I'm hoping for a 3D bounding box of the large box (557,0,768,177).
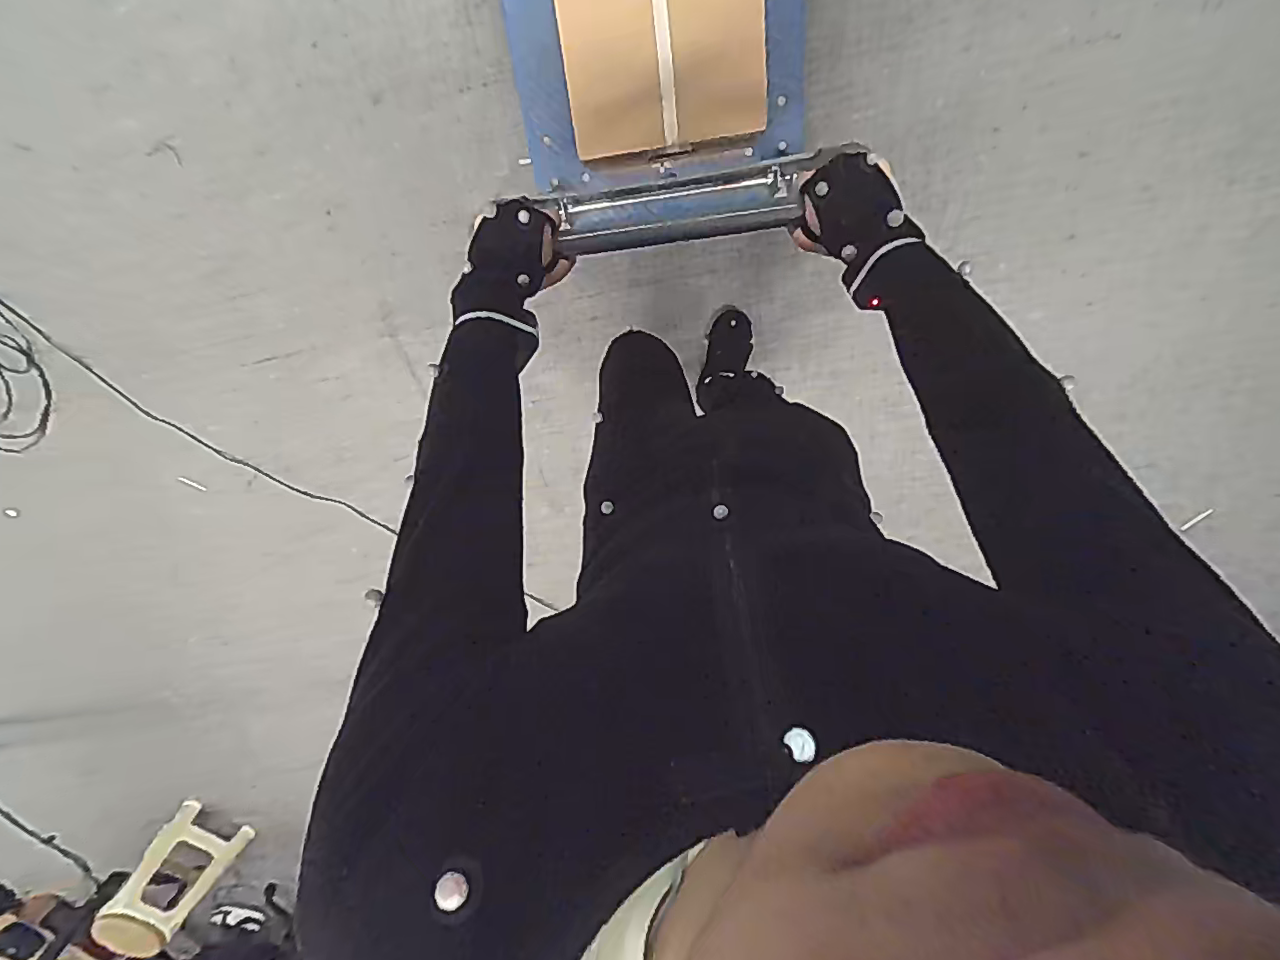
[{"bbox_3d":[0.038,-0.791,0.944,0.320,0.320,0.408,-5,114,6],"label":"large box"}]
